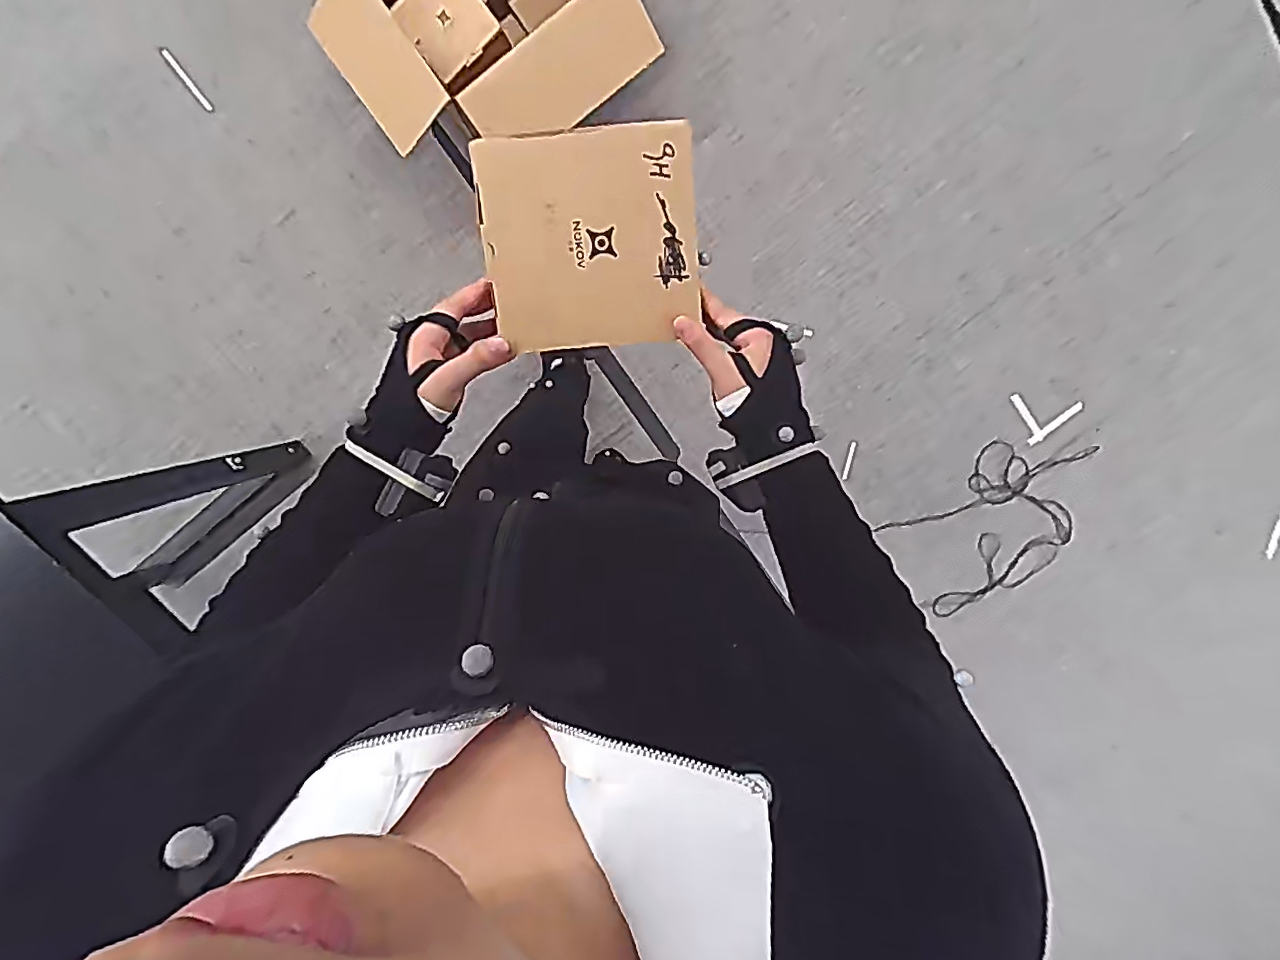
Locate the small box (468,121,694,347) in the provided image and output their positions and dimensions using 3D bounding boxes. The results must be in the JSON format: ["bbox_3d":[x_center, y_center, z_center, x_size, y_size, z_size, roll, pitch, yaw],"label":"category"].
[{"bbox_3d":[-0.045,-0.218,0.525,0.179,0.176,0.168,-5,105,1],"label":"small box"}]

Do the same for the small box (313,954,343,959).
[{"bbox_3d":[-0.504,0.875,0.811,0.168,0.176,0.179,-44,100,6],"label":"small box"}]

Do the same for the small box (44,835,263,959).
[{"bbox_3d":[-0.694,0.661,0.763,0.179,0.176,0.168,-36,100,4],"label":"small box"}]
